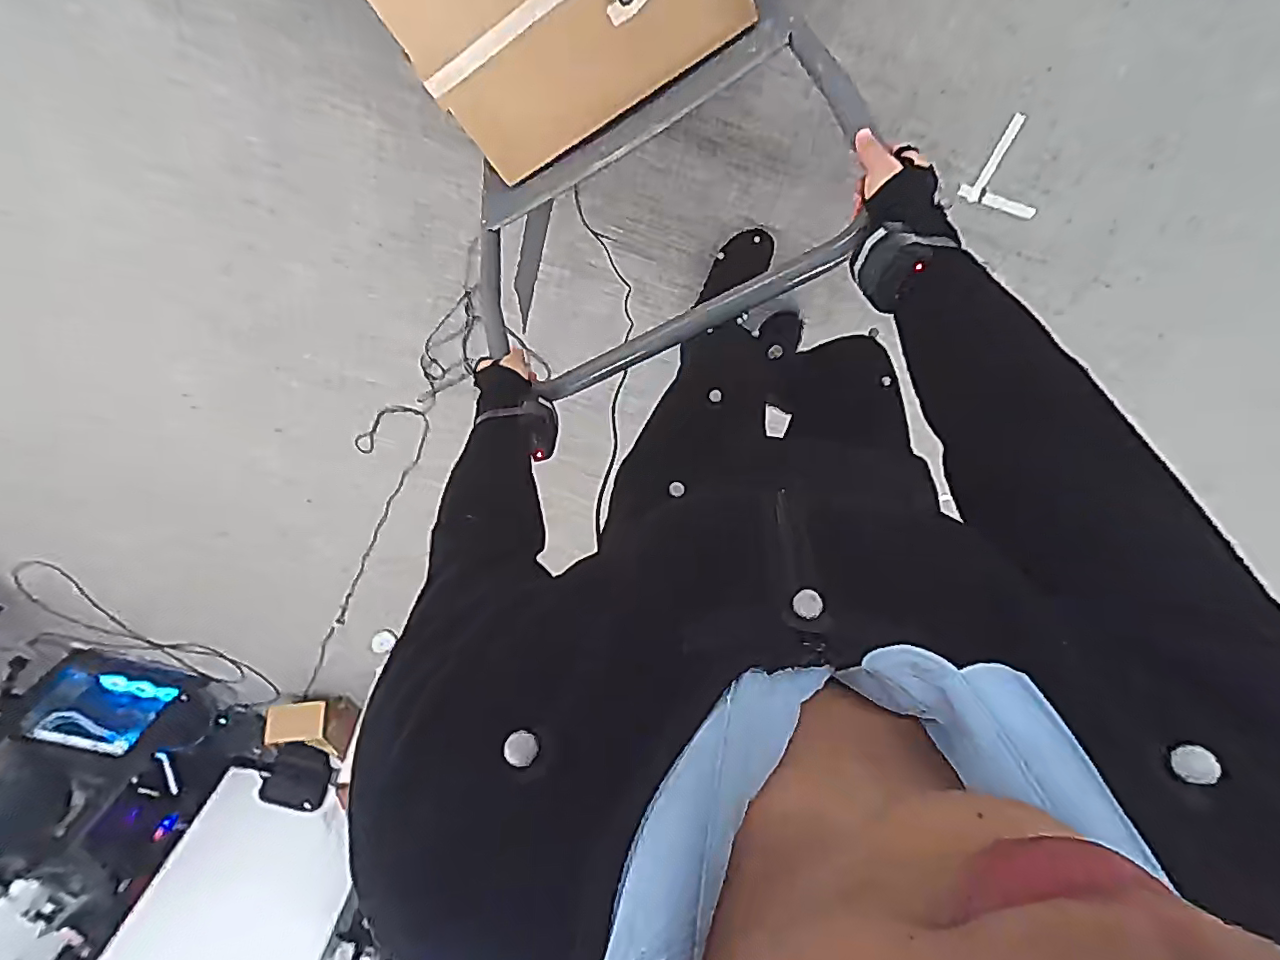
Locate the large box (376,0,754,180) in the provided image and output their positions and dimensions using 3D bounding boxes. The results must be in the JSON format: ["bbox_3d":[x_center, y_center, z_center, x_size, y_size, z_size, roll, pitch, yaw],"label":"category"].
[{"bbox_3d":[-0.115,-0.719,0.735,0.408,0.320,0.320,-24,142,20],"label":"large box"}]
